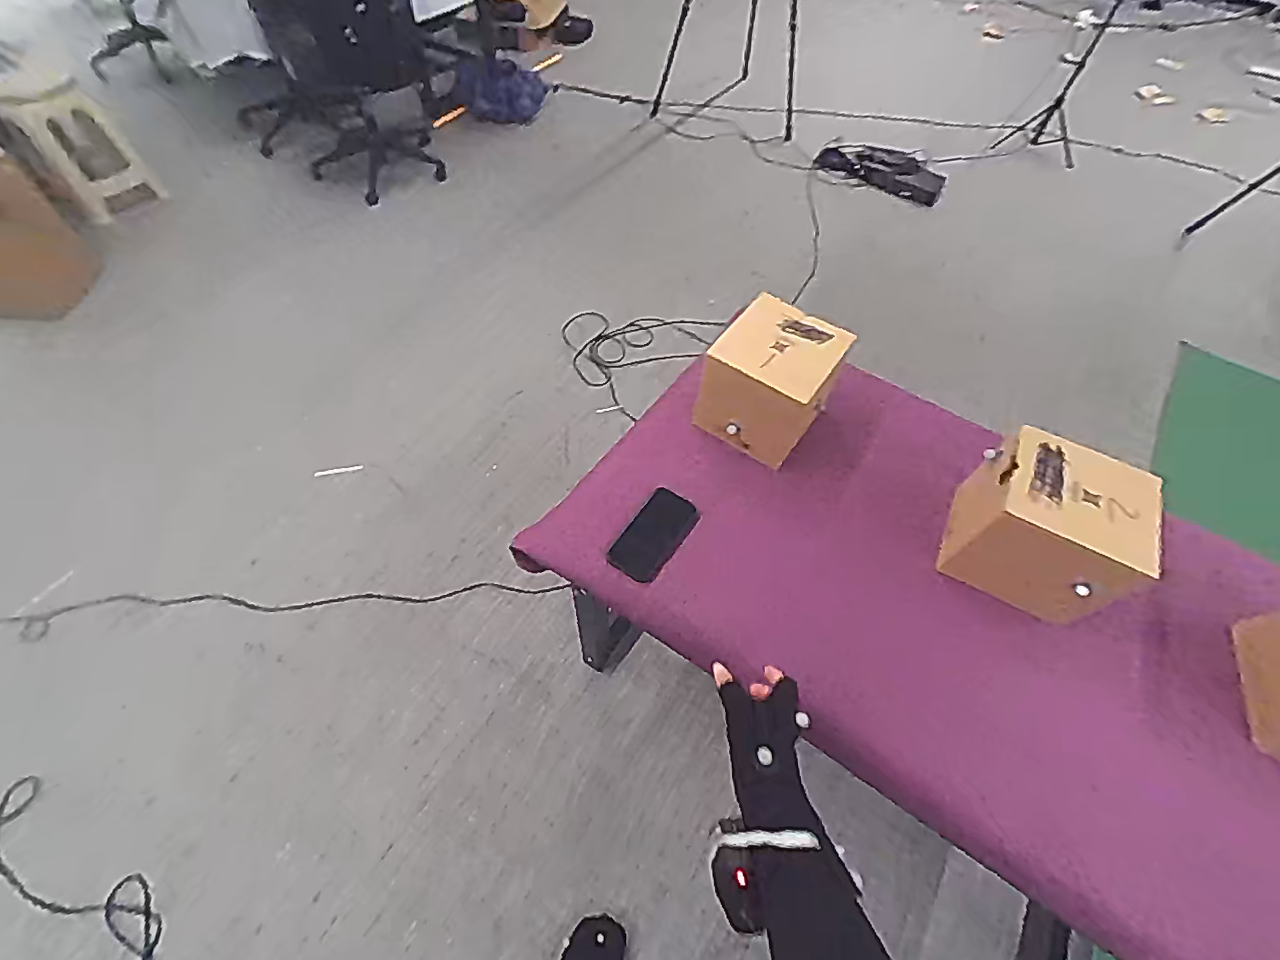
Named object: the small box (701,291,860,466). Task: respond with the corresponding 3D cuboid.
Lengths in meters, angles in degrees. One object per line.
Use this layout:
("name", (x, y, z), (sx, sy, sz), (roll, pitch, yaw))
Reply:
("small box", (0.212, -0.158, 0.862), (0.168, 0.176, 0.179), (33, 62, 17))

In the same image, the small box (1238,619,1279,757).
("small box", (0.869, 0.261, 0.626), (0.168, 0.176, 0.179), (22, 57, 12))
